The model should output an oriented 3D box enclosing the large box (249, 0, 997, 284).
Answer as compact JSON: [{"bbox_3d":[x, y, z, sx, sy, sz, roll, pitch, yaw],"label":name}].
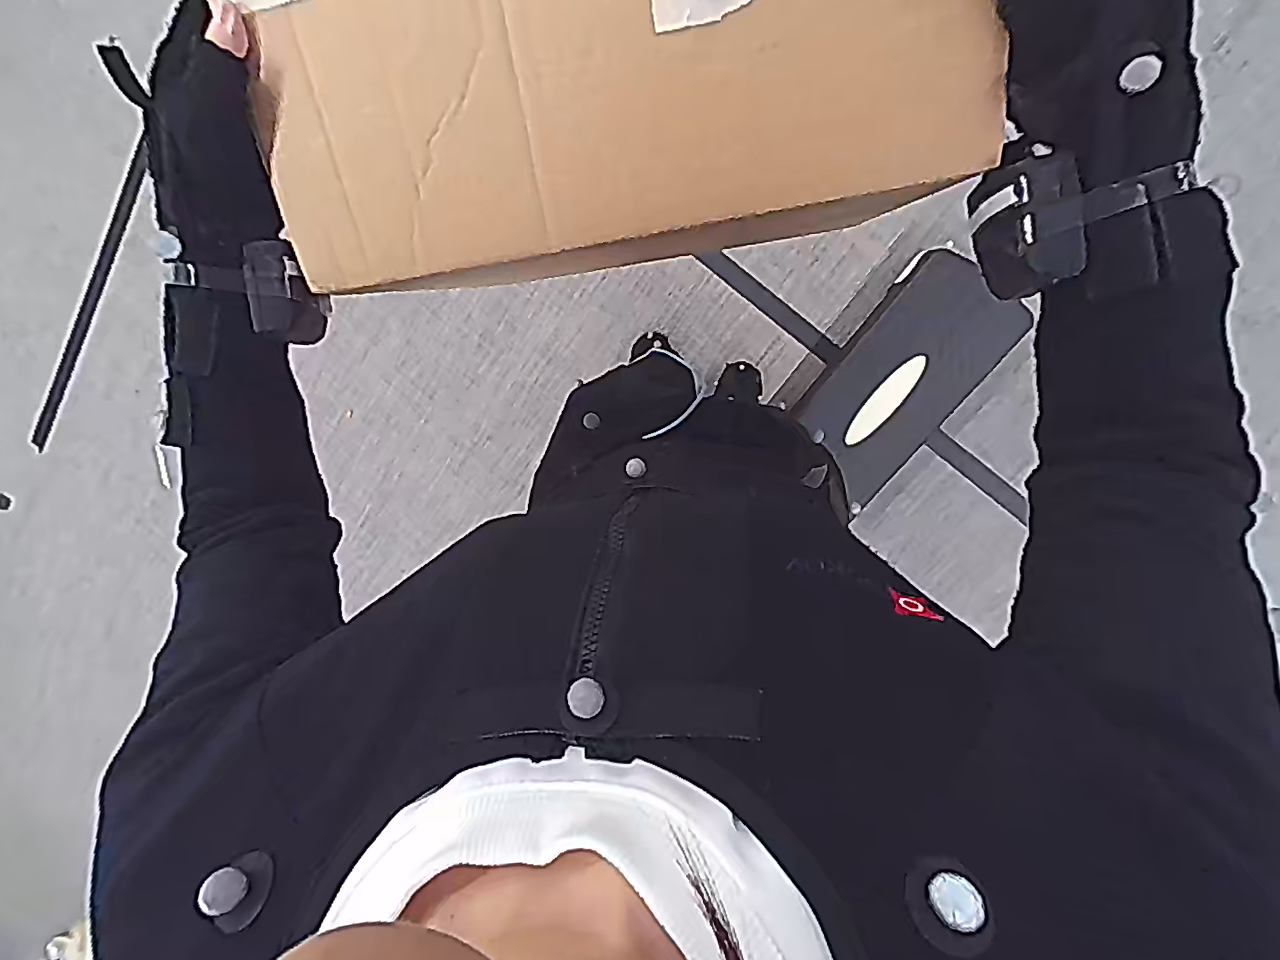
[{"bbox_3d":[-0.013,-0.347,0.413,0.408,0.320,0.320,-6,110,10],"label":"large box"}]
